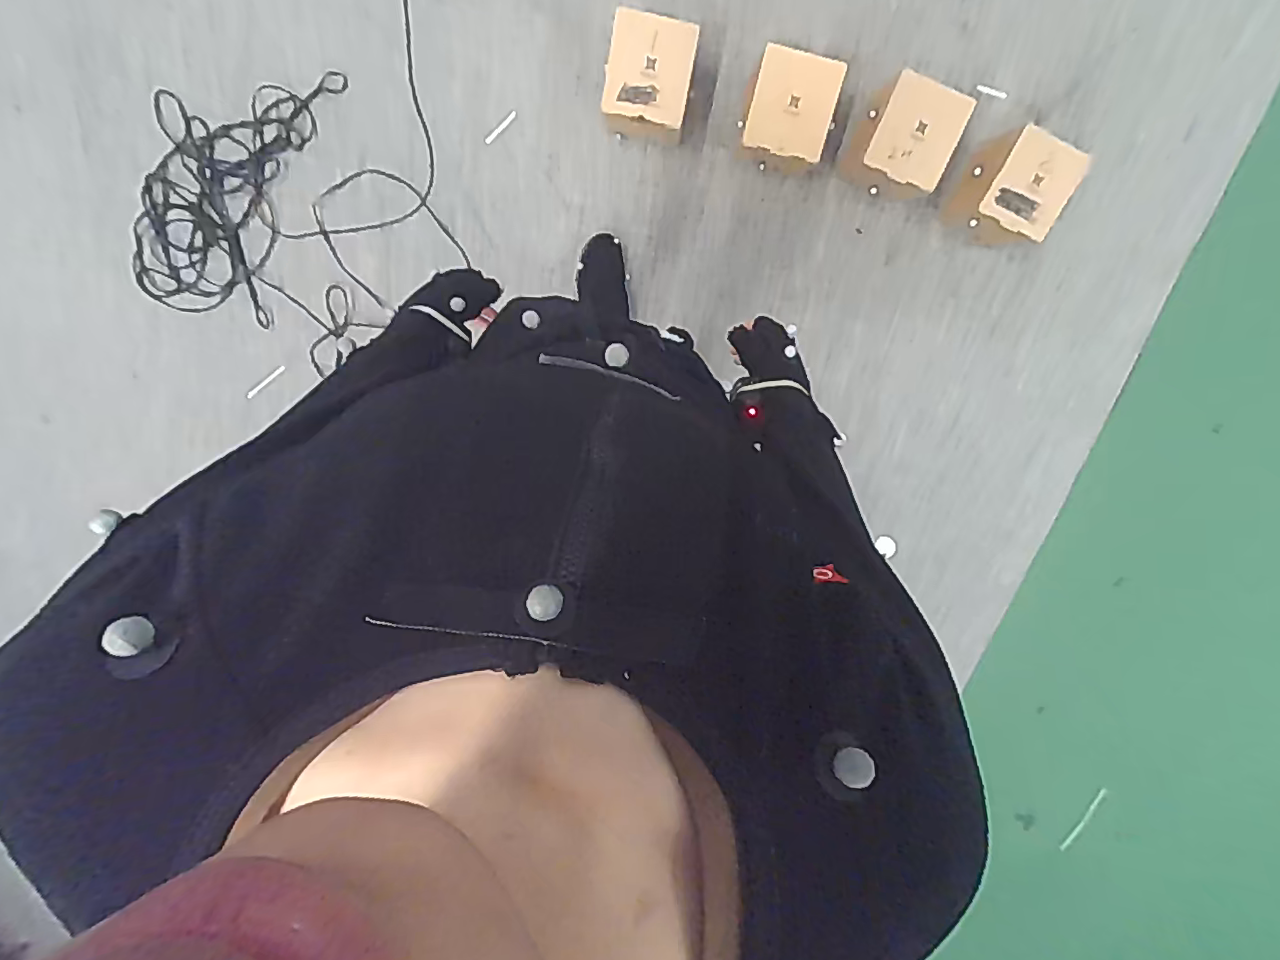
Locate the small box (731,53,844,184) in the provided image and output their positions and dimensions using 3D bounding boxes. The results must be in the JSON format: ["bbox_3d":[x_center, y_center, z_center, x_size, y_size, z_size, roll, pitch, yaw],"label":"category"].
[{"bbox_3d":[0.302,-0.755,1.150,0.168,0.176,0.179,12,110,-4],"label":"small box"}]

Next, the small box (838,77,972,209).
[{"bbox_3d":[0.554,-0.709,1.161,0.168,0.176,0.179,20,109,-6],"label":"small box"}]

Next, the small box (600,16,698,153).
[{"bbox_3d":[0.017,-0.811,1.131,0.168,0.176,0.179,11,108,-3],"label":"small box"}]
